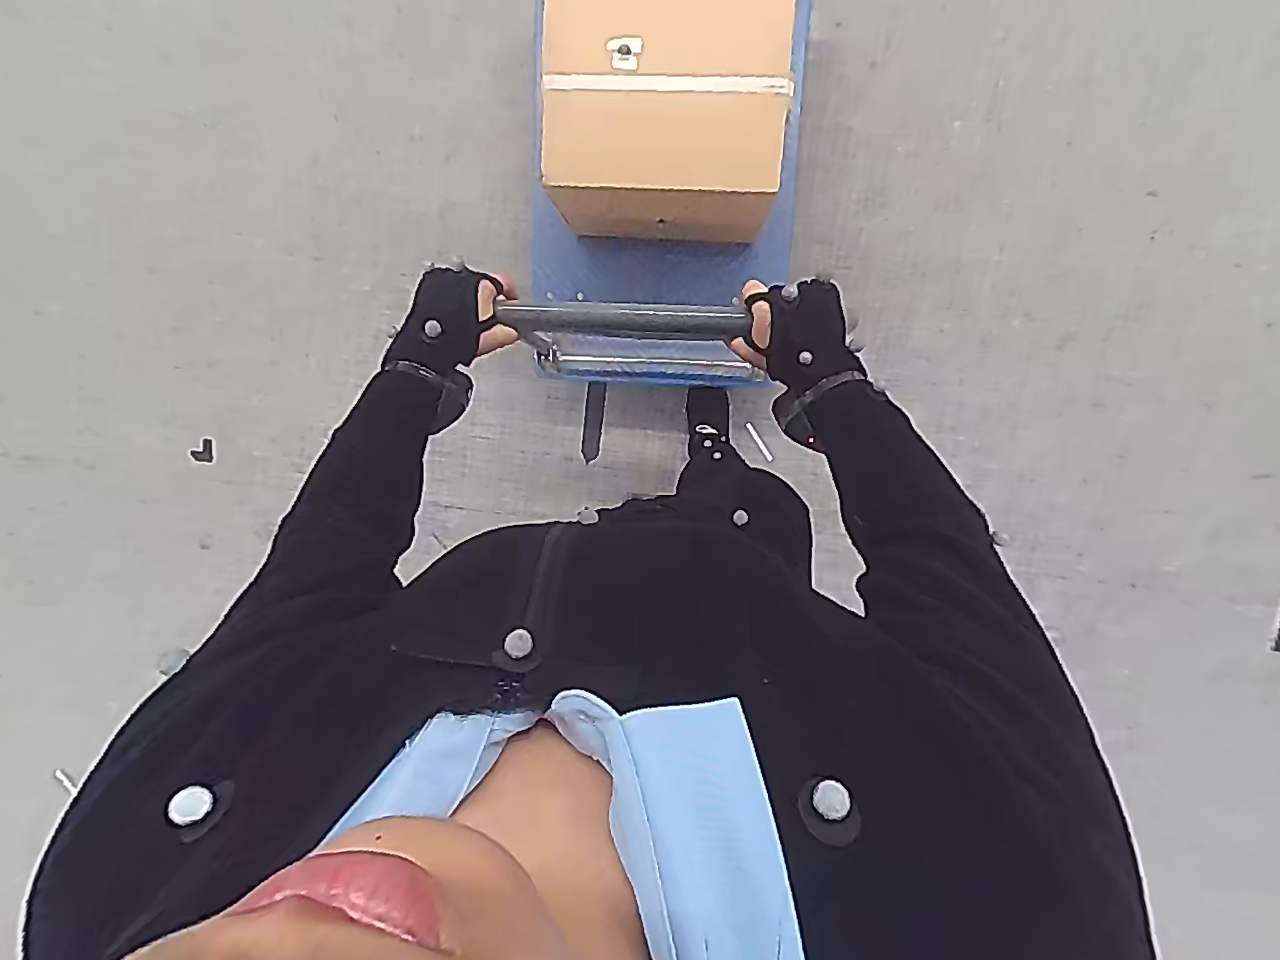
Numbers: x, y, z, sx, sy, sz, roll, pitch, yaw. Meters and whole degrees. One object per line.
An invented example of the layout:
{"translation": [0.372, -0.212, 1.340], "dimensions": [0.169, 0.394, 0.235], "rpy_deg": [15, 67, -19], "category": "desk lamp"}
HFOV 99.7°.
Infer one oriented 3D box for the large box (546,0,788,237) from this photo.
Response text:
{"translation": [0.053, -0.675, 1.053], "dimensions": [0.408, 0.320, 0.320], "rpy_deg": [4, 99, 5], "category": "large box"}
